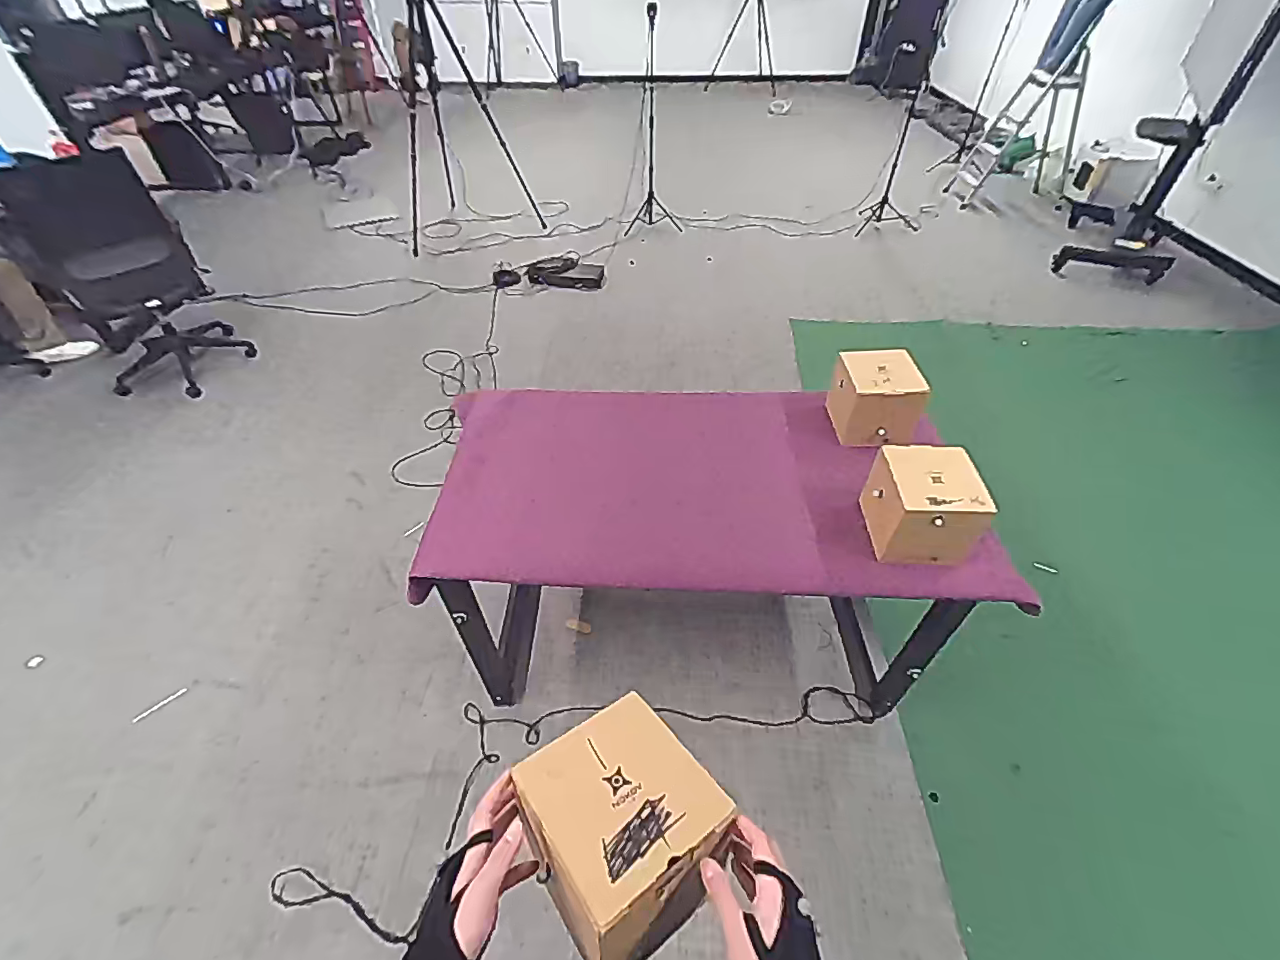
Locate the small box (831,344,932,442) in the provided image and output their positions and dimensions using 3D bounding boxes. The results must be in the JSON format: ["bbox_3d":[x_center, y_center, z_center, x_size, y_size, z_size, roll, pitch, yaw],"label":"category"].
[{"bbox_3d":[0.581,-0.213,1.329,0.168,0.176,0.179,-2,47,4],"label":"small box"}]

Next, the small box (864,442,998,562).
[{"bbox_3d":[0.567,0.043,1.084,0.168,0.176,0.179,0,46,4],"label":"small box"}]
